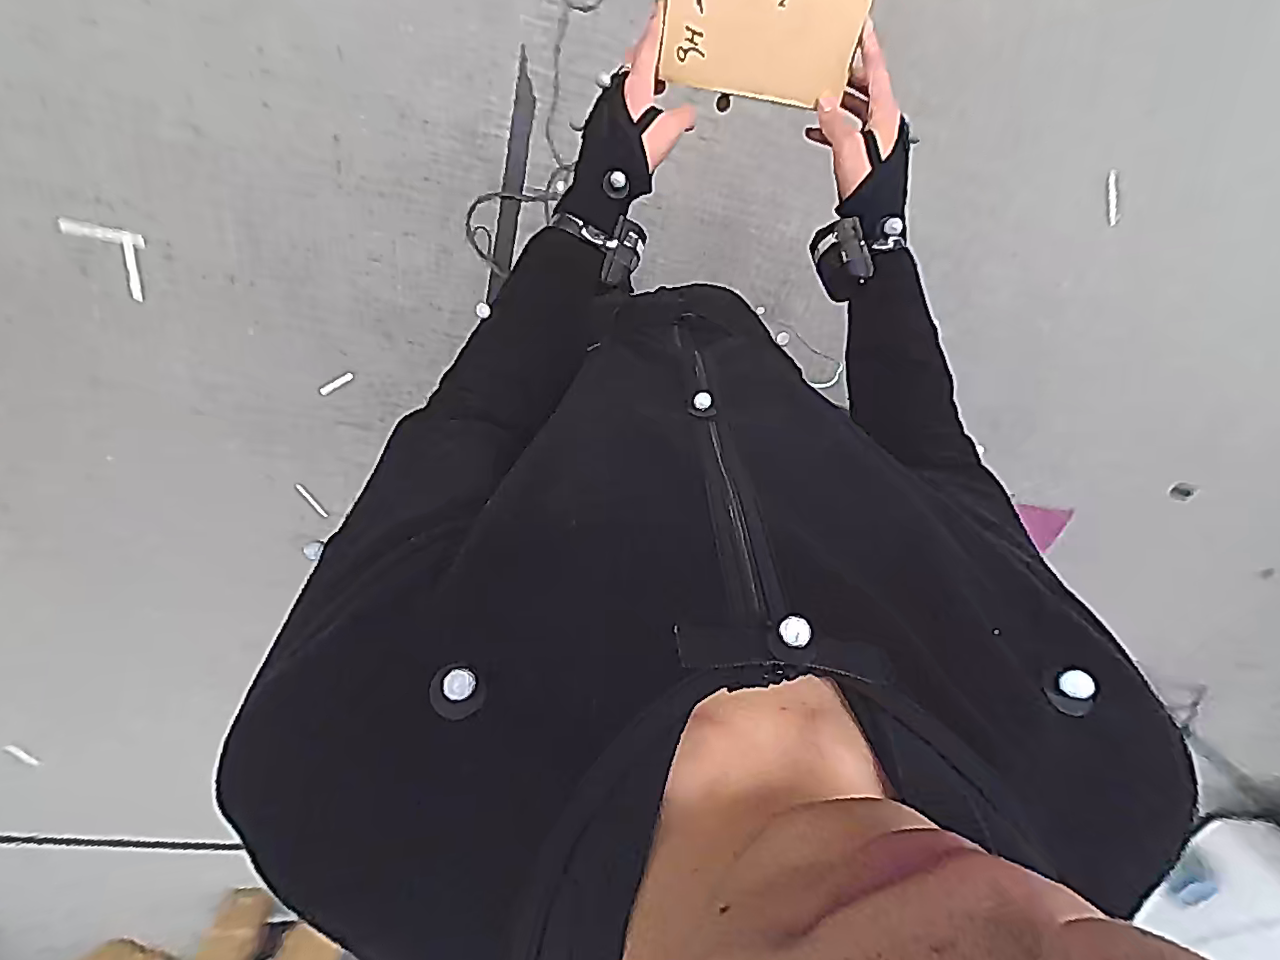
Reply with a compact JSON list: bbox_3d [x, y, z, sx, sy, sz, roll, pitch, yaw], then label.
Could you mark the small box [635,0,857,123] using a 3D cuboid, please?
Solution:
[{"bbox_3d":[0.096,-0.464,0.522,0.179,0.176,0.168,5,127,-8],"label":"small box"}]
